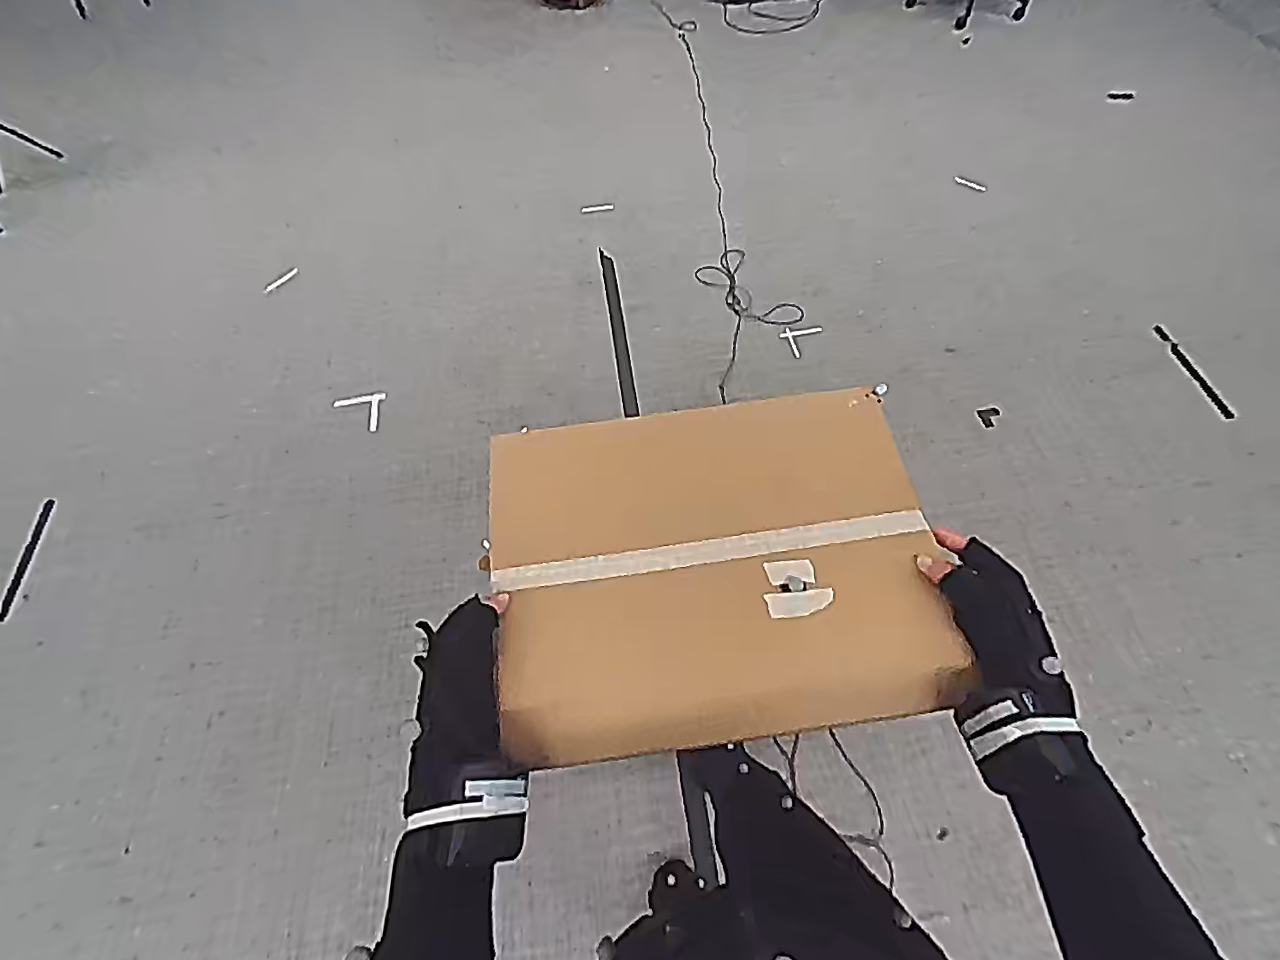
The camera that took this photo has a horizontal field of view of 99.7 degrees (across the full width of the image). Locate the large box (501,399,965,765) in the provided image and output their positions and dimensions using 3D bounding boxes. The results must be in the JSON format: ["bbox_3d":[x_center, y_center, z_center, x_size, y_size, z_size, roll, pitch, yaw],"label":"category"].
[{"bbox_3d":[0.071,0.140,0.659,0.408,0.320,0.320,-8,65,-2],"label":"large box"}]
